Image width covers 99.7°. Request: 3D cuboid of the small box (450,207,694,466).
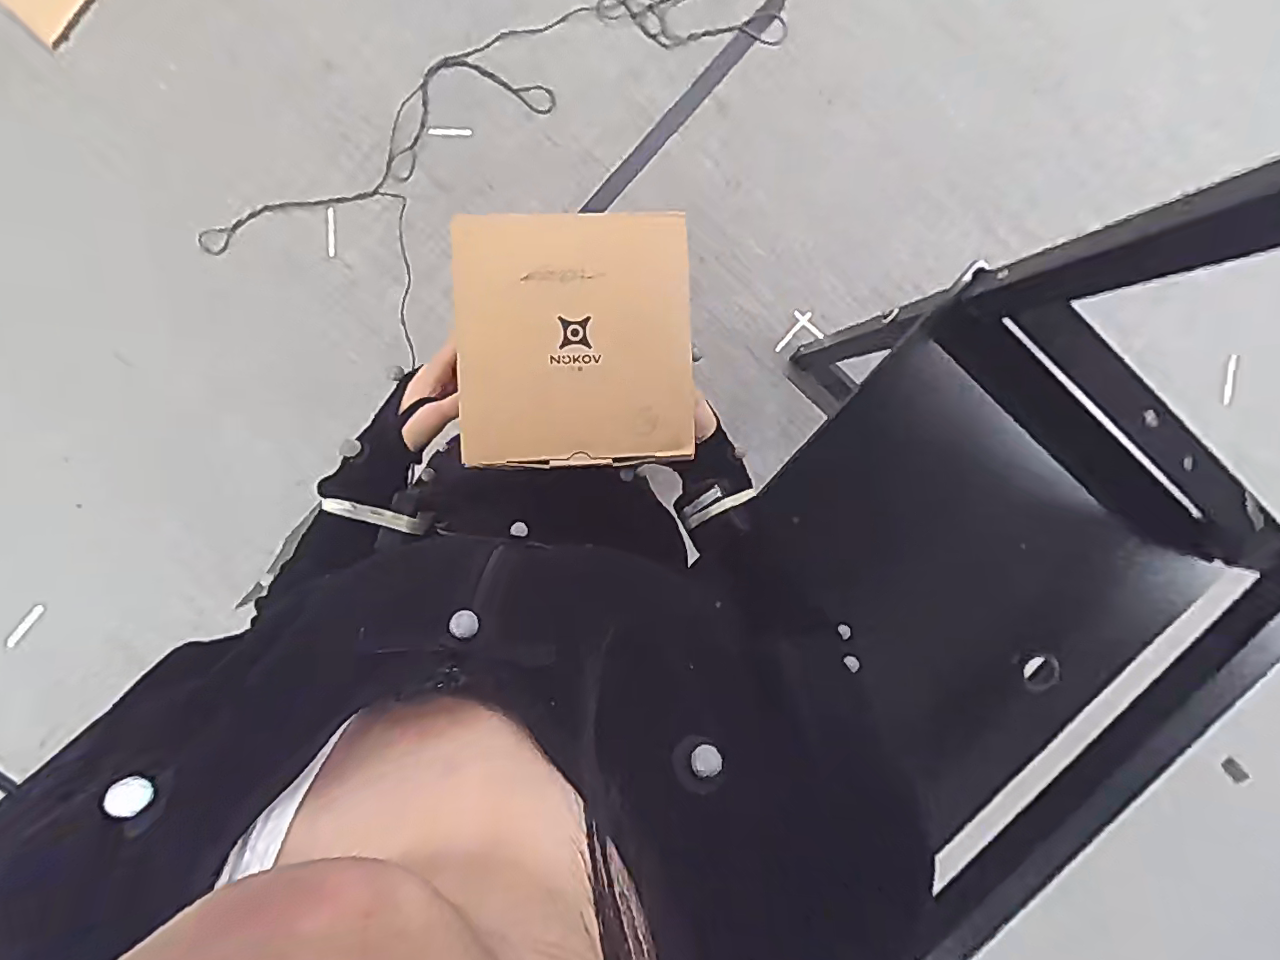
[{"bbox_3d":[-0.051,-0.102,0.452,0.168,0.176,0.179,-3,90,-5],"label":"small box"}]
